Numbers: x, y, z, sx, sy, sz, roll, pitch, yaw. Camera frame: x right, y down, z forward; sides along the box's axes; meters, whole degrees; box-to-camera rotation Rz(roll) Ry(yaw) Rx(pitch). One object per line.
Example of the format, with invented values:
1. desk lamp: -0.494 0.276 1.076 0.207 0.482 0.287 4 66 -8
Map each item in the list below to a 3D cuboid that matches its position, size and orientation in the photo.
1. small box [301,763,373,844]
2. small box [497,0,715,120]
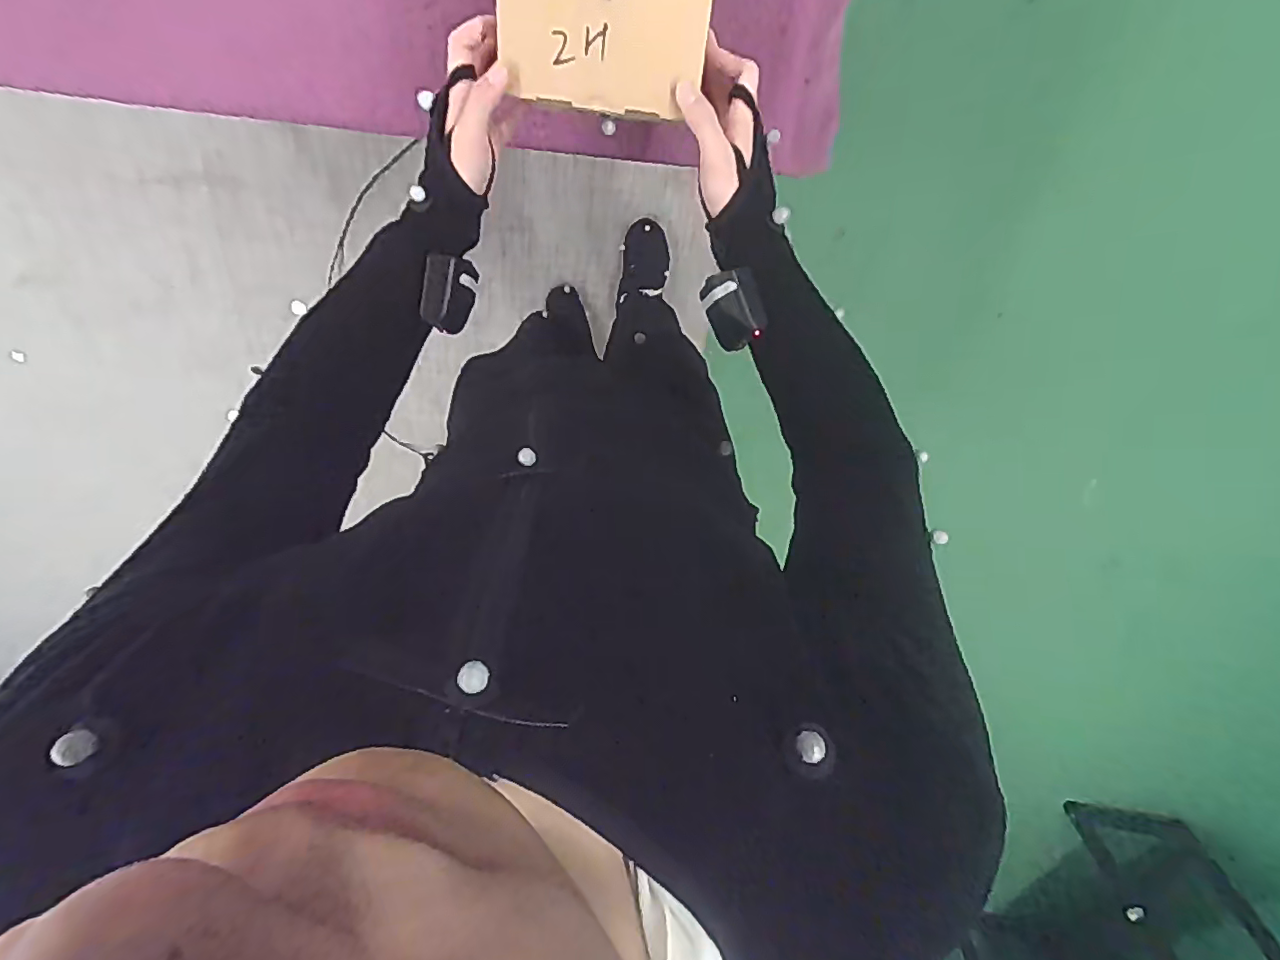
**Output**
1. small box: -1.063 1.141 1.912 0.168 0.176 0.179 14 119 -4
2. small box: -0.020 -0.427 0.462 0.168 0.176 0.179 8 122 -2
